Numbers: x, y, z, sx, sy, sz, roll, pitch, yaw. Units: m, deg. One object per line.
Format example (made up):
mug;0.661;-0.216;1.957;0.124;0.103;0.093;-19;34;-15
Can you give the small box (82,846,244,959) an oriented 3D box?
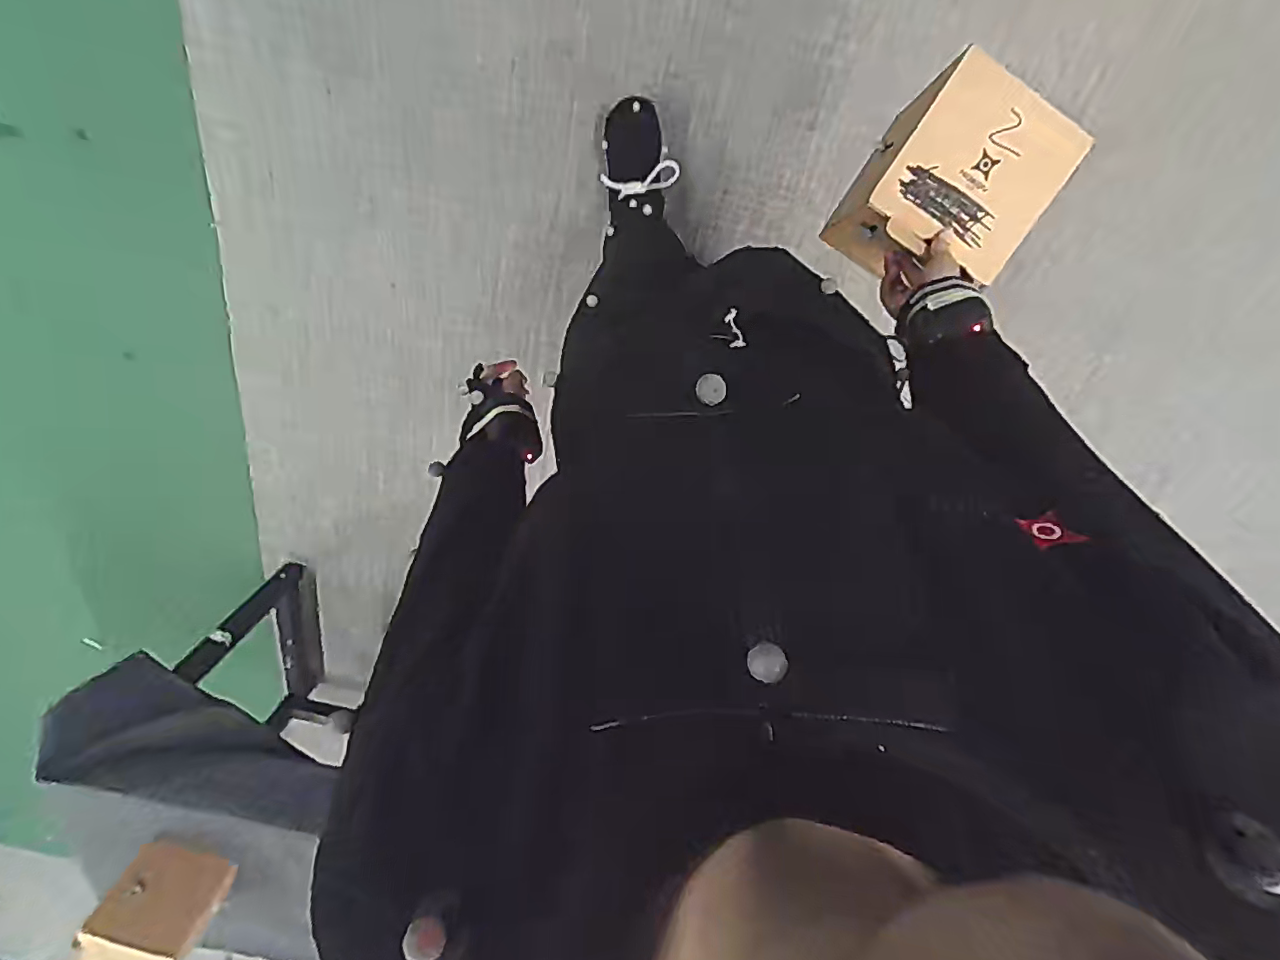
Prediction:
small box;-0.947;0.871;1.083;0.179;0.176;0.168;25;119;-10
